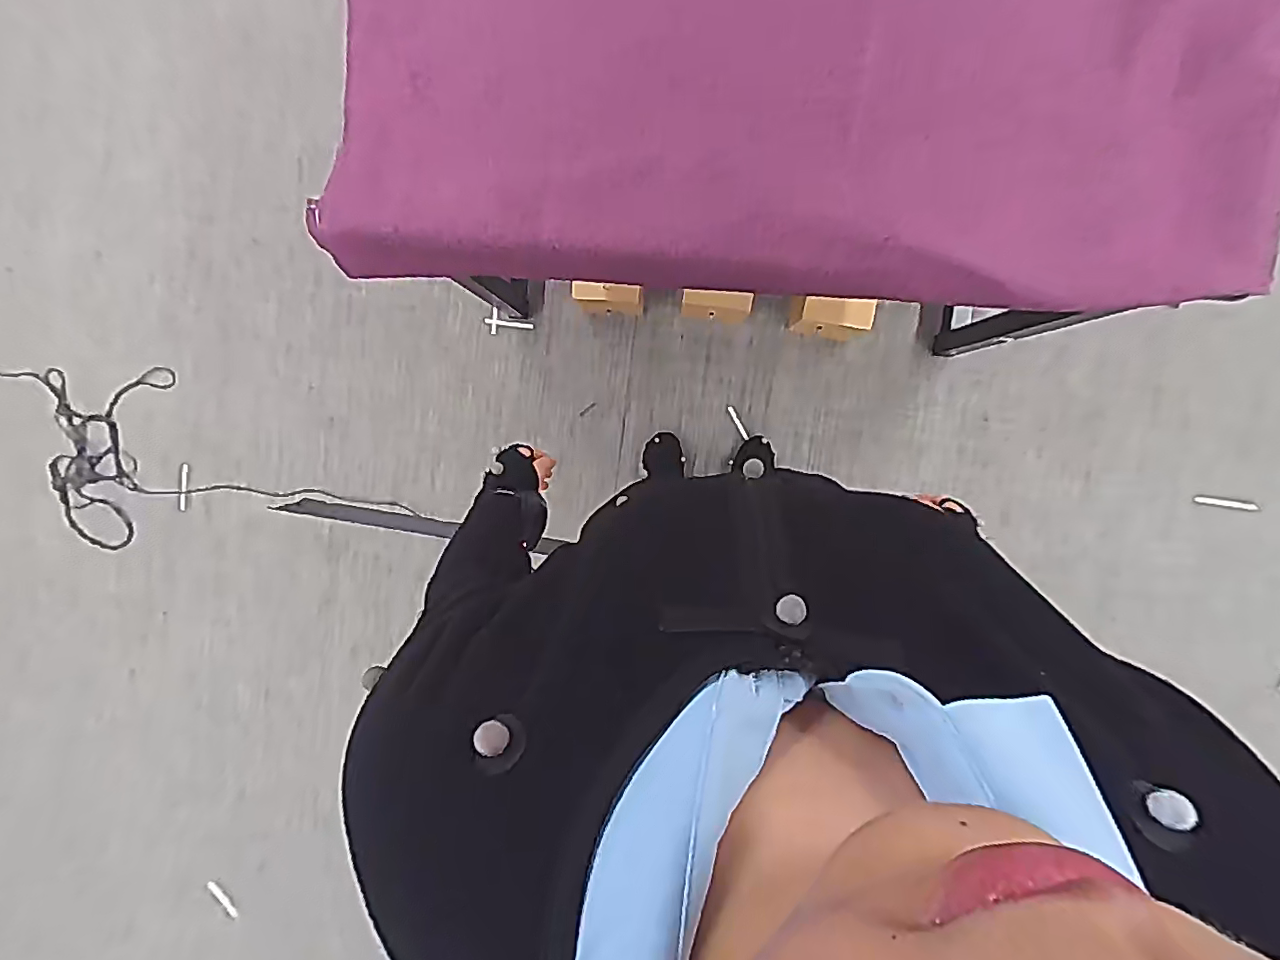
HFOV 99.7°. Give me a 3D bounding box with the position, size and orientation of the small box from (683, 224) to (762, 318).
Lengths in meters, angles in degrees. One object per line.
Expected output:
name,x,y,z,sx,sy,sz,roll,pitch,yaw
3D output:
small box,0.201,-0.516,1.360,0.168,0.176,0.179,8,96,2

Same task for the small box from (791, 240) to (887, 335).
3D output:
small box,0.486,-0.470,1.349,0.168,0.176,0.179,11,96,3
